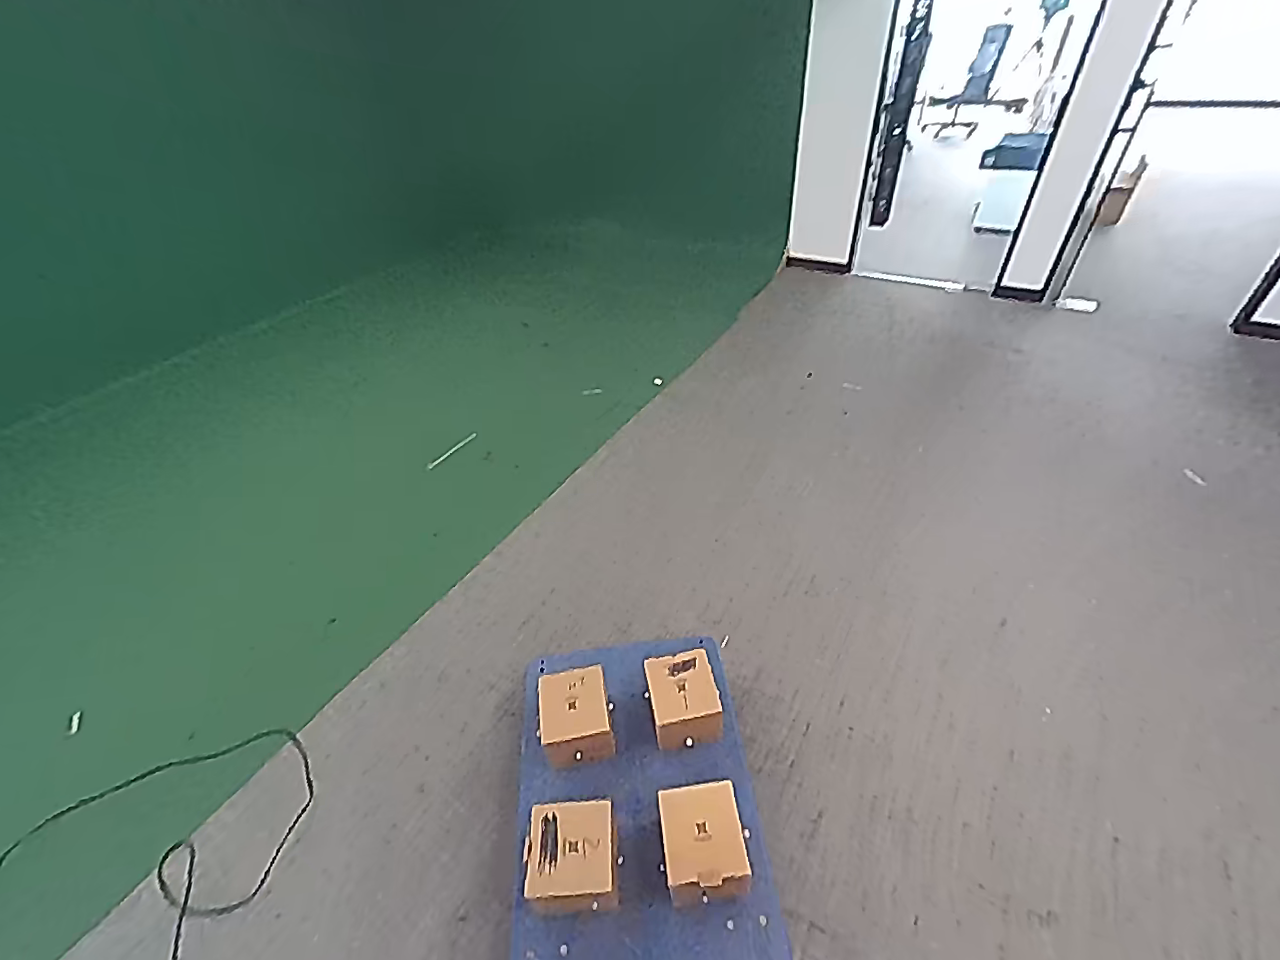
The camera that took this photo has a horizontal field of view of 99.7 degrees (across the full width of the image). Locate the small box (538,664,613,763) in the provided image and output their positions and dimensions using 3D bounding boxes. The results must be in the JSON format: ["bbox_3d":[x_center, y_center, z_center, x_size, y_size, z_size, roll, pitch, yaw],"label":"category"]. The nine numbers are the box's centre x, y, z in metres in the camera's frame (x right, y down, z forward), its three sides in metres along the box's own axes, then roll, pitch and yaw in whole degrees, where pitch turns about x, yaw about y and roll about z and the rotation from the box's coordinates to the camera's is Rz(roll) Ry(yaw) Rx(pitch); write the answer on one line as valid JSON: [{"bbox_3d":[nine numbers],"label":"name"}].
[{"bbox_3d":[-0.164,0.606,1.391,0.168,0.176,0.179,-9,43,-5],"label":"small box"}]

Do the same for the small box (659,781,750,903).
[{"bbox_3d":[0.133,0.784,1.172,0.168,0.176,0.179,-7,43,-2],"label":"small box"}]

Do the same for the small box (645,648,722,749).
[{"bbox_3d":[0.109,0.569,1.406,0.168,0.176,0.179,-10,44,-4],"label":"small box"}]
